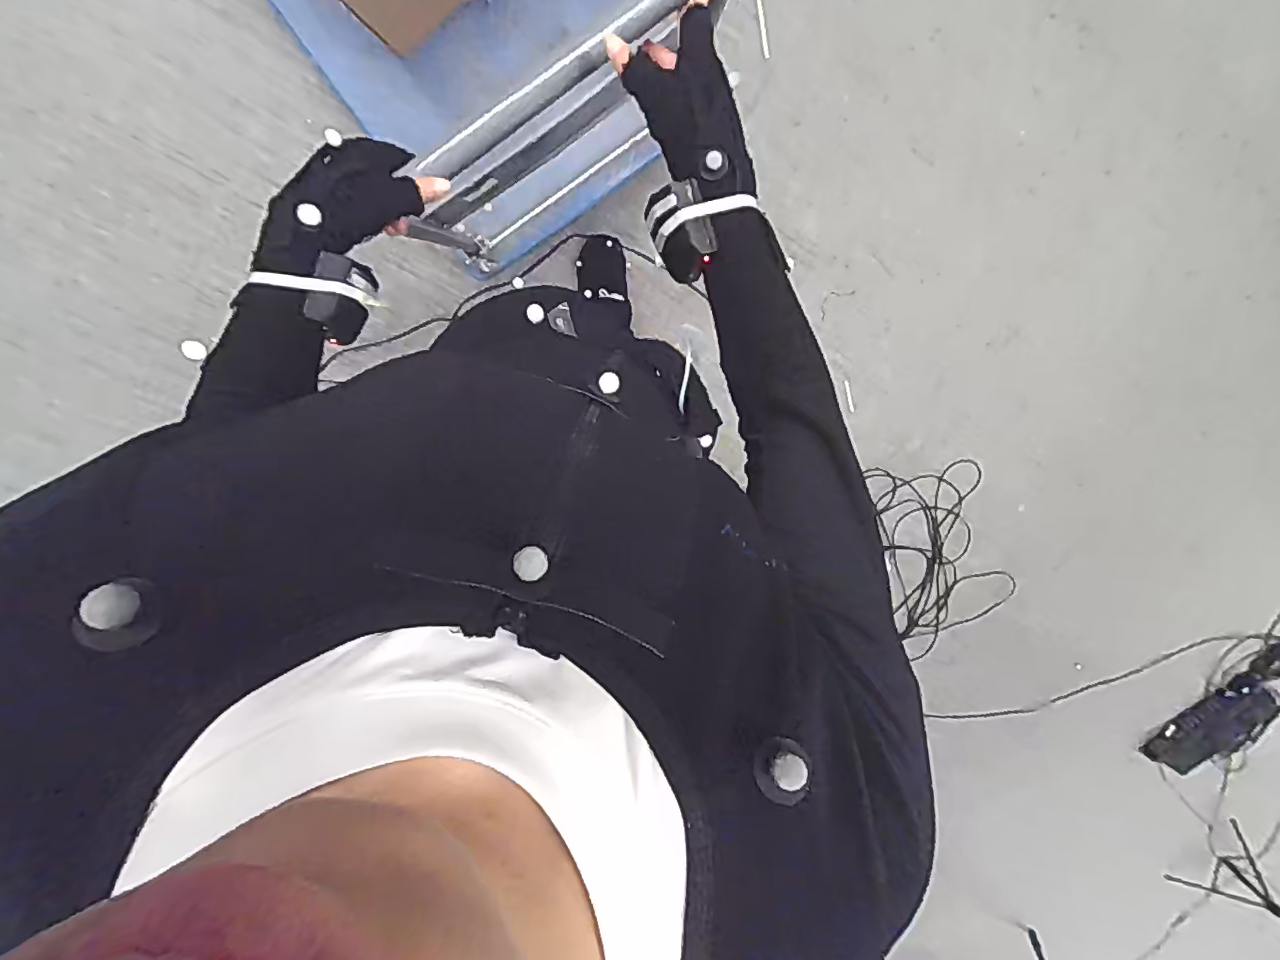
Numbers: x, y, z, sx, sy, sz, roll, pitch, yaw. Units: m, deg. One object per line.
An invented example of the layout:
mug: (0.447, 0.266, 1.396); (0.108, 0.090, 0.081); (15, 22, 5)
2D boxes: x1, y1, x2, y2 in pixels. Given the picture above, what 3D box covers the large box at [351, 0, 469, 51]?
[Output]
large box: (-0.327, -0.924, 0.751); (0.408, 0.320, 0.320); (-33, 112, 11)
